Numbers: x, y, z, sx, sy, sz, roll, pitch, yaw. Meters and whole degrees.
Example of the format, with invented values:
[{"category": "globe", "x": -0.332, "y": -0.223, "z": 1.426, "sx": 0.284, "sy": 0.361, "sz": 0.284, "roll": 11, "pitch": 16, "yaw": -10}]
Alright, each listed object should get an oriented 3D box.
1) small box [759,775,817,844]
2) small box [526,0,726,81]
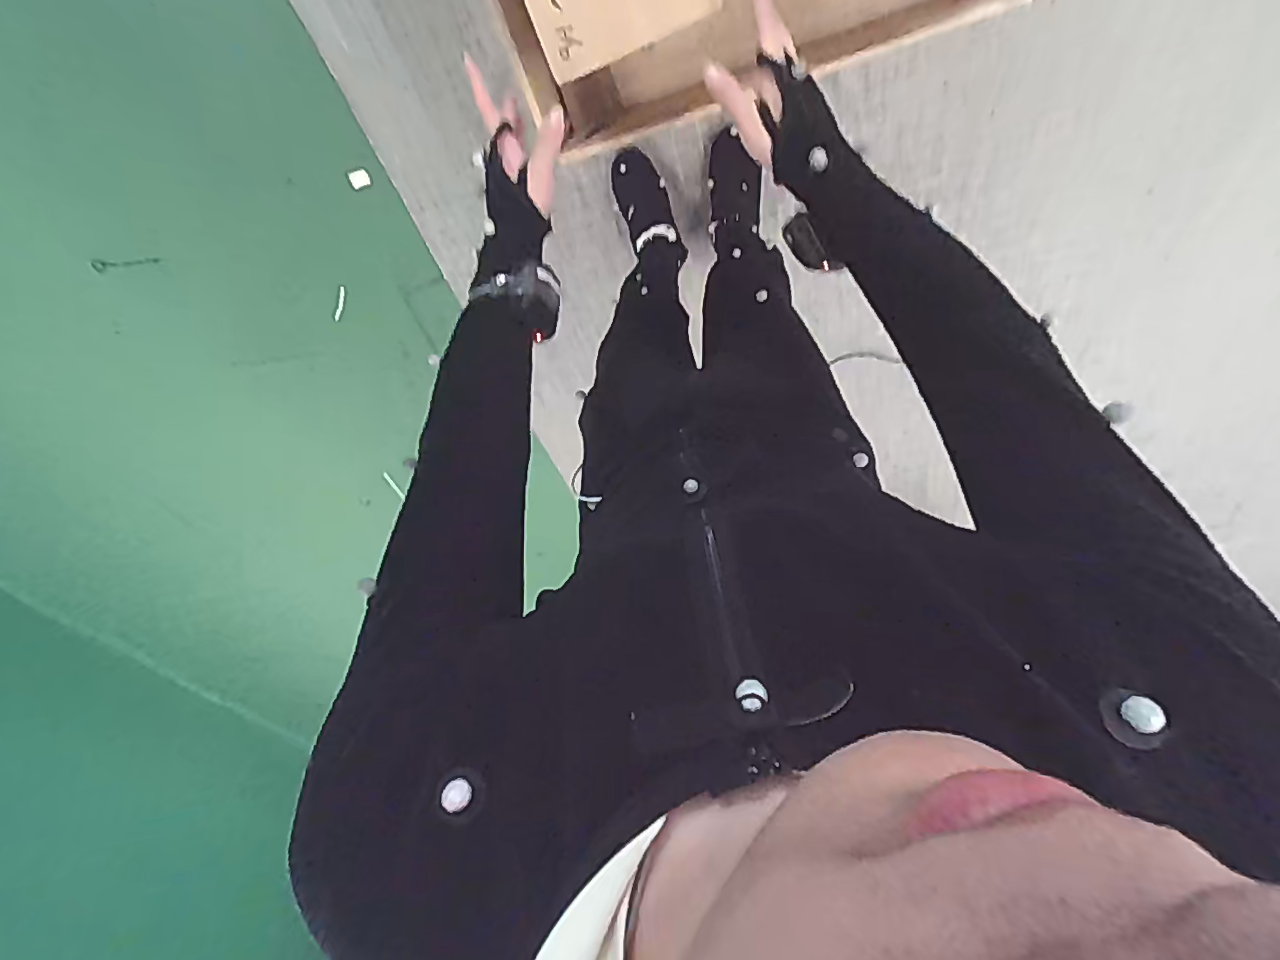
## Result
[{"category": "small box", "x": 0.508, "y": 1.133, "z": 1.860, "sx": 0.168, "sy": 0.176, "sz": 0.179, "roll": -10, "pitch": 132, "yaw": 14}, {"category": "small box", "x": -0.026, "y": -0.526, "z": 0.522, "sx": 0.179, "sy": 0.176, "sz": 0.168, "roll": -13, "pitch": 132, "yaw": 16}]
